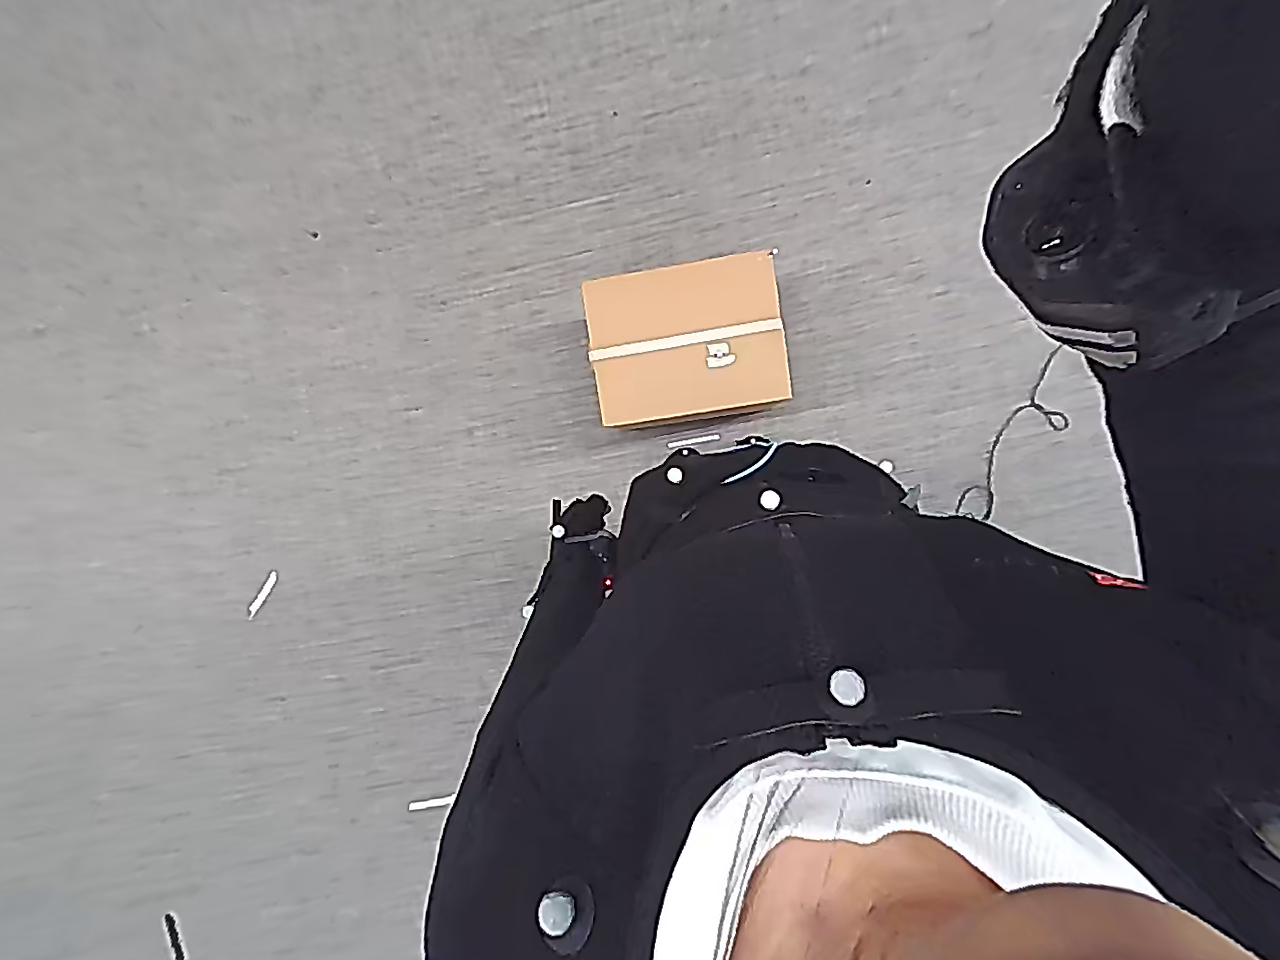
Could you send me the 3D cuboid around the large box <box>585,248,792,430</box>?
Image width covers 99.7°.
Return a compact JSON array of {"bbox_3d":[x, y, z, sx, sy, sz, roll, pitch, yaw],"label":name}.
[{"bbox_3d":[0.111,-0.307,1.287,0.408,0.320,0.320,-9,93,5],"label":"large box"}]
